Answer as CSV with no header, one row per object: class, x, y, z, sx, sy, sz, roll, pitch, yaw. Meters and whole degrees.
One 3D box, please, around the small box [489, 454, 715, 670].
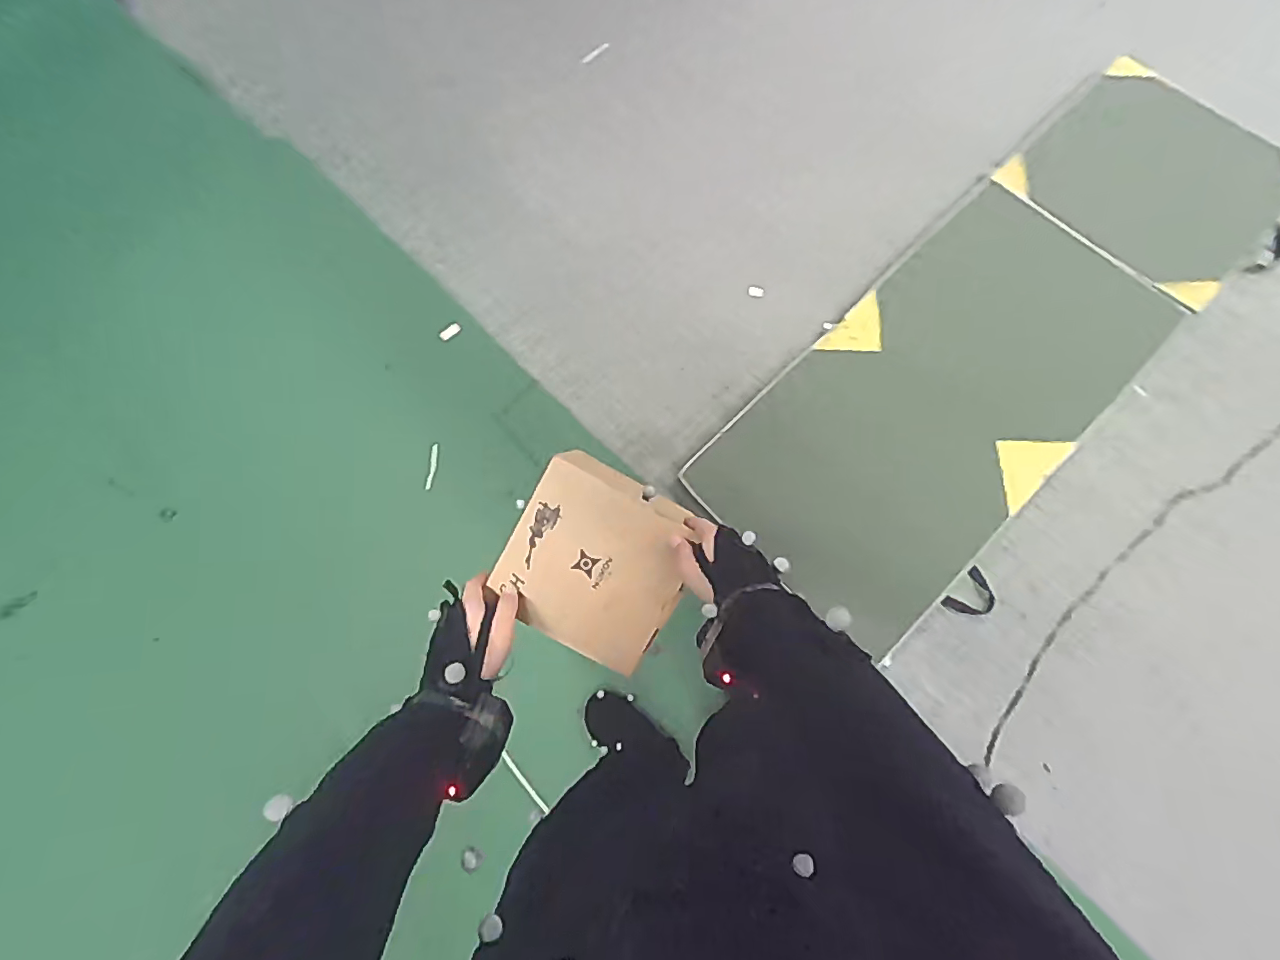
small box,-0.038,0.077,0.620,0.179,0.176,0.168,30,93,-2
